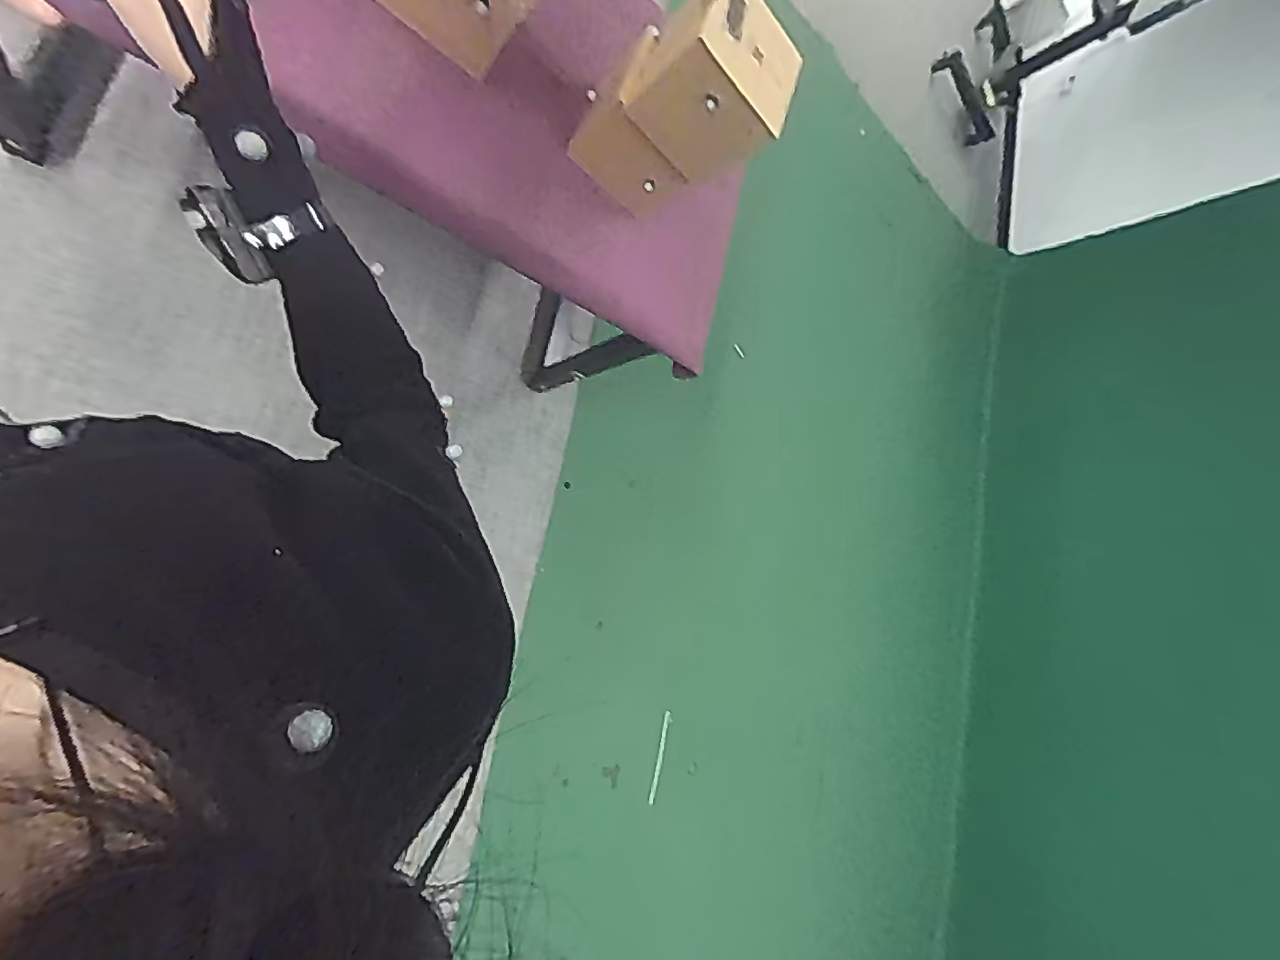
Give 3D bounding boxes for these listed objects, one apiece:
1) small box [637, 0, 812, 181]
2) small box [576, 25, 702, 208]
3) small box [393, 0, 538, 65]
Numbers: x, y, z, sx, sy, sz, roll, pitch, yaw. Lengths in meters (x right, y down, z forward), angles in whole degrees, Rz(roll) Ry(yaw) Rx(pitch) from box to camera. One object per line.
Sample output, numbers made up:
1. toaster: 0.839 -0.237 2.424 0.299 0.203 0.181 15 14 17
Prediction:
1. small box: 0.123 -0.595 0.809 0.179 0.176 0.168 30 71 -33
2. small box: 0.022 -0.608 0.937 0.179 0.176 0.168 30 71 -32
3. small box: -0.233 -0.730 0.748 0.179 0.176 0.168 23 75 -34
